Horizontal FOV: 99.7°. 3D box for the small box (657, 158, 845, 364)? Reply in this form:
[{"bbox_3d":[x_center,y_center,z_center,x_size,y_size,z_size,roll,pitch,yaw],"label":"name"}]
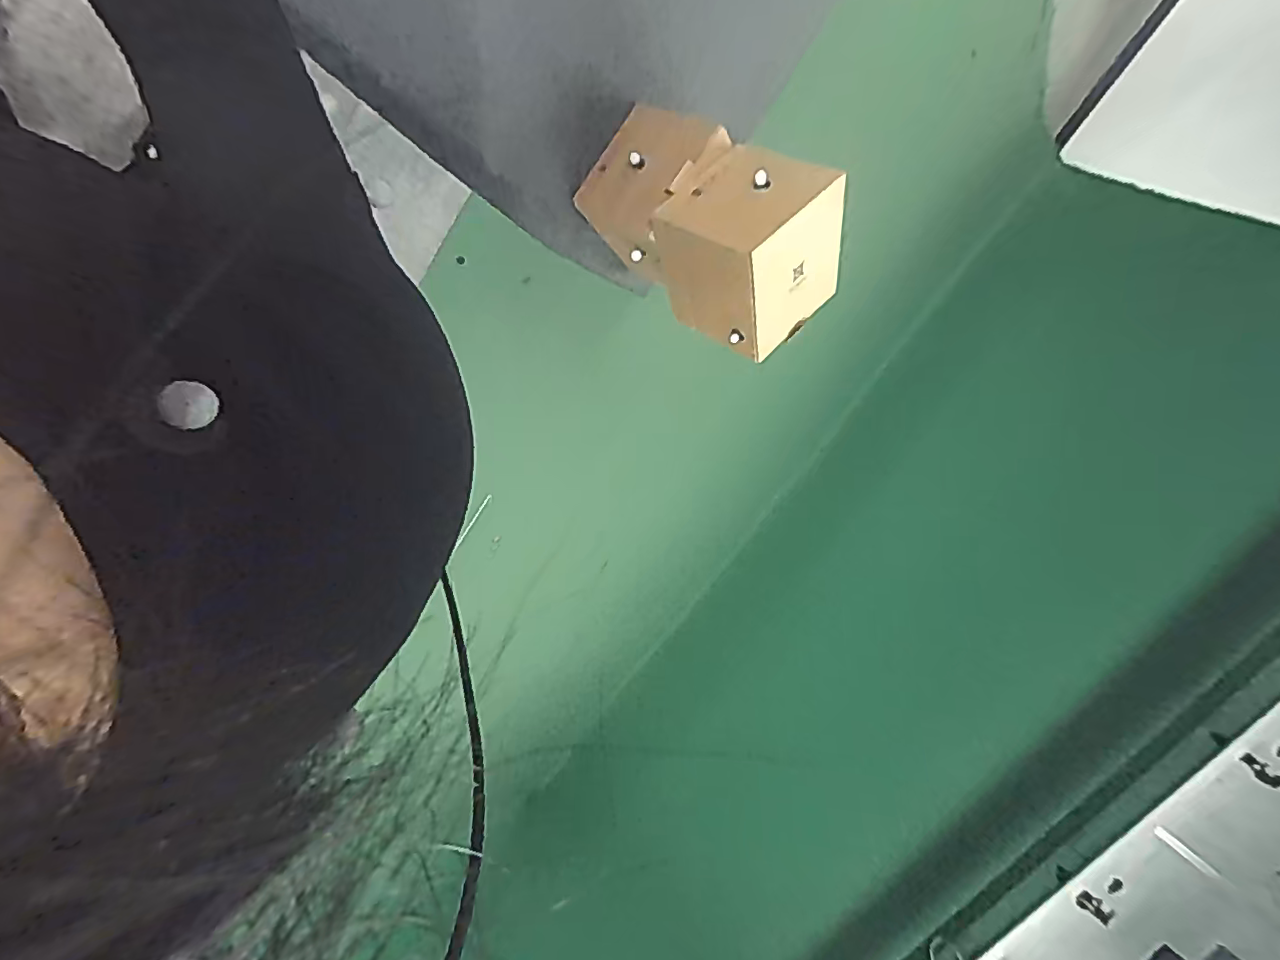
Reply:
[{"bbox_3d":[0.143,-0.293,0.712,0.168,0.176,0.179,-43,148,-12],"label":"small box"}]

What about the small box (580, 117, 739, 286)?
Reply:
[{"bbox_3d":[0.045,-0.396,0.794,0.168,0.176,0.179,-54,147,6],"label":"small box"}]
